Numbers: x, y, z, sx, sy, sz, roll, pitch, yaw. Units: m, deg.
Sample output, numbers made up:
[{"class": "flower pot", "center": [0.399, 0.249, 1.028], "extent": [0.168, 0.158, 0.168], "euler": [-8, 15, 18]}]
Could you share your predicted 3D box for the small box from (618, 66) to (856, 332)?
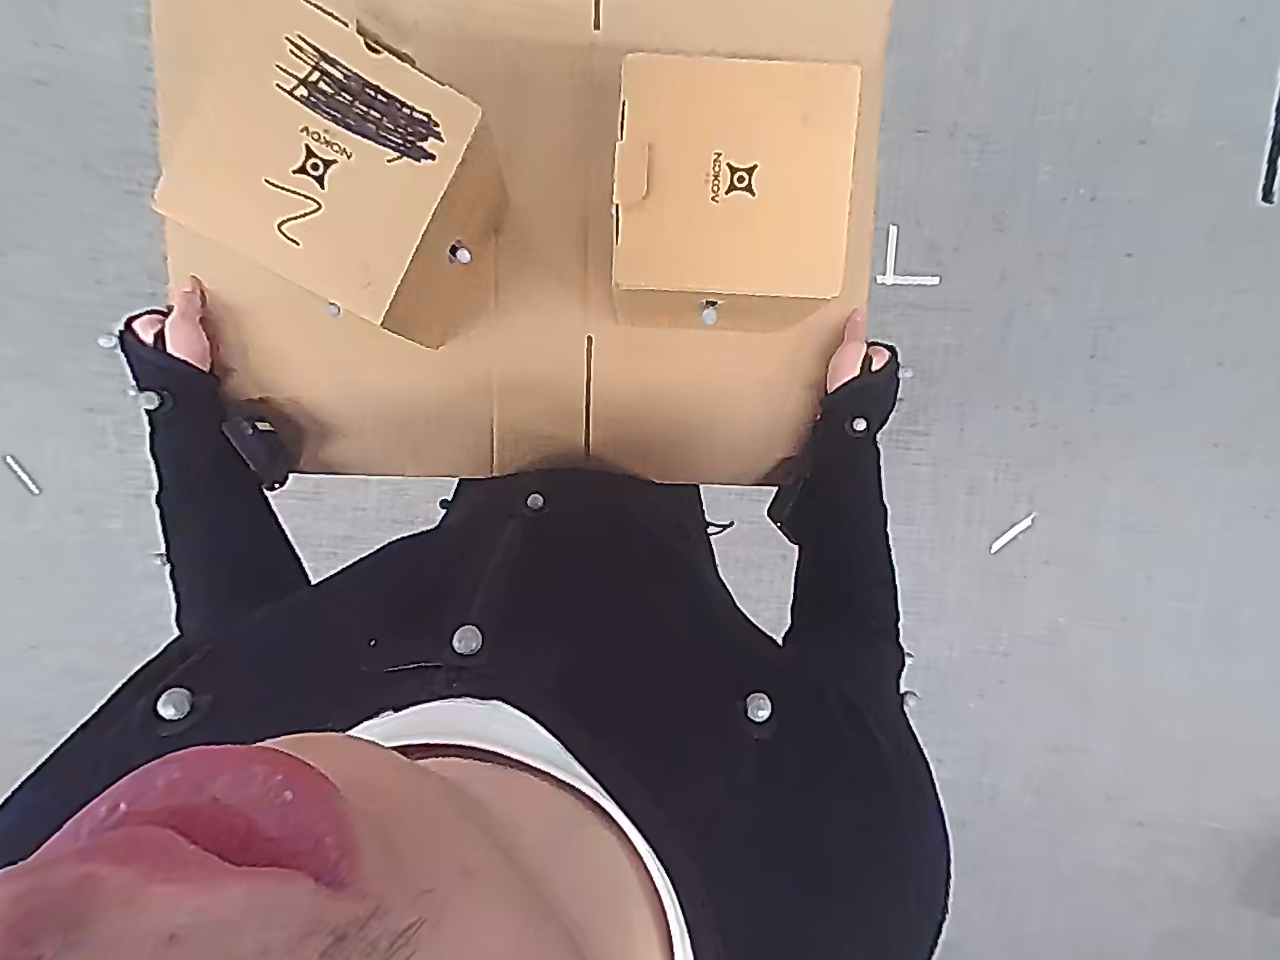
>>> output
[{"class": "small box", "center": [0.074, -0.236, 0.498], "extent": [0.179, 0.176, 0.168], "euler": [3, 96, 0]}]
